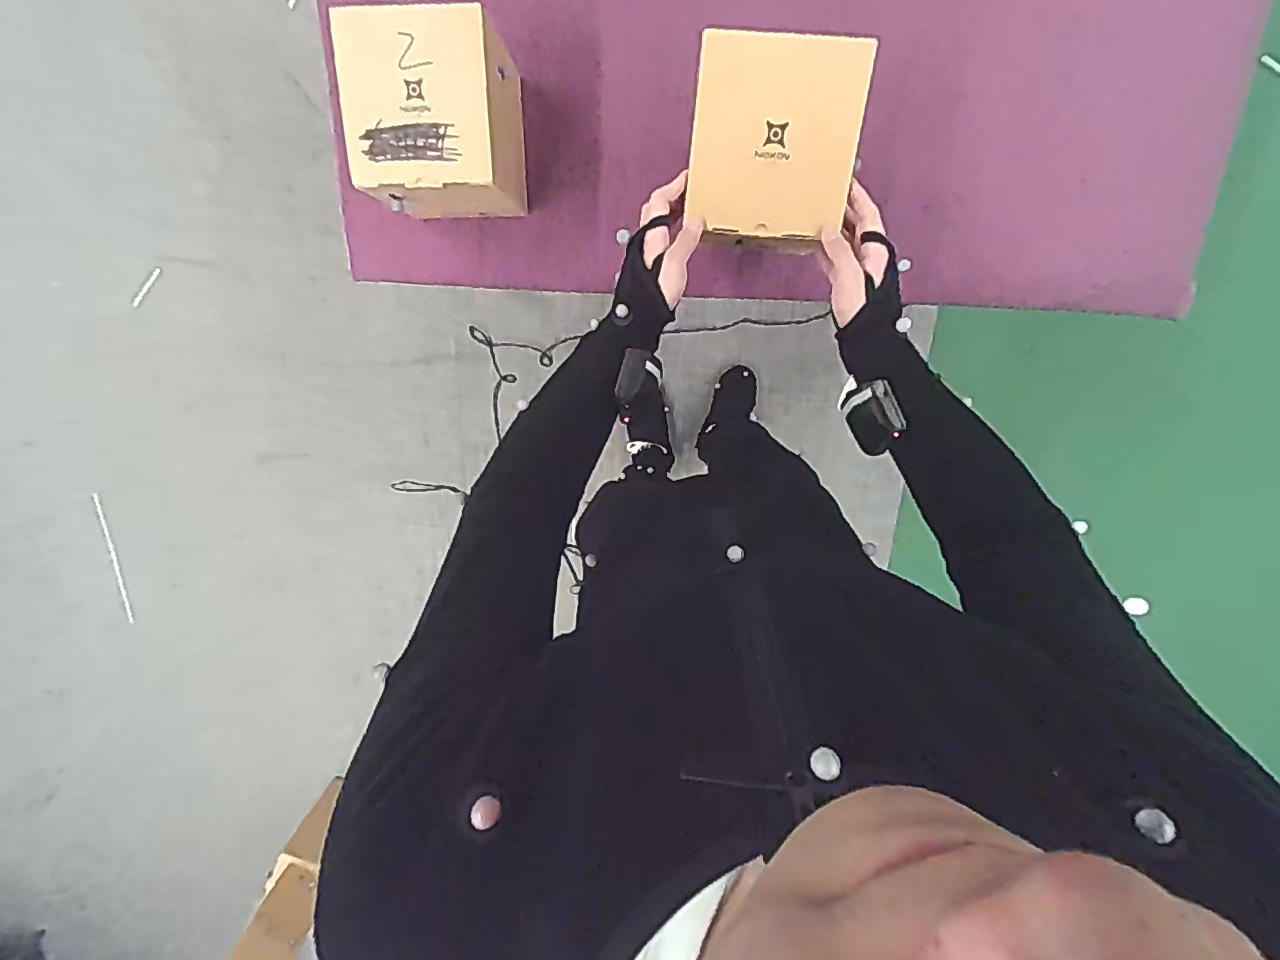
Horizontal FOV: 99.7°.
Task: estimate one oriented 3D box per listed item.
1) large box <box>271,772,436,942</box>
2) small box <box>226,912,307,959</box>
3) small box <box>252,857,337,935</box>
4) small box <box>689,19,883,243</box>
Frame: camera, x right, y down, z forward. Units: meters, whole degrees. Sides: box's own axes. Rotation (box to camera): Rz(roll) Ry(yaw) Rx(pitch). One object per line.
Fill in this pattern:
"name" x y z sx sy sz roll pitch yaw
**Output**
"large box" -1.016 1.333 1.934 0.408 0.320 0.320 25 107 -7
"small box" -1.082 1.375 1.522 0.168 0.176 0.179 31 105 -8
"small box" -1.085 1.332 1.681 0.168 0.176 0.179 31 104 -8
"small box" 0.145 -0.372 0.610 0.168 0.176 0.179 6 112 2
